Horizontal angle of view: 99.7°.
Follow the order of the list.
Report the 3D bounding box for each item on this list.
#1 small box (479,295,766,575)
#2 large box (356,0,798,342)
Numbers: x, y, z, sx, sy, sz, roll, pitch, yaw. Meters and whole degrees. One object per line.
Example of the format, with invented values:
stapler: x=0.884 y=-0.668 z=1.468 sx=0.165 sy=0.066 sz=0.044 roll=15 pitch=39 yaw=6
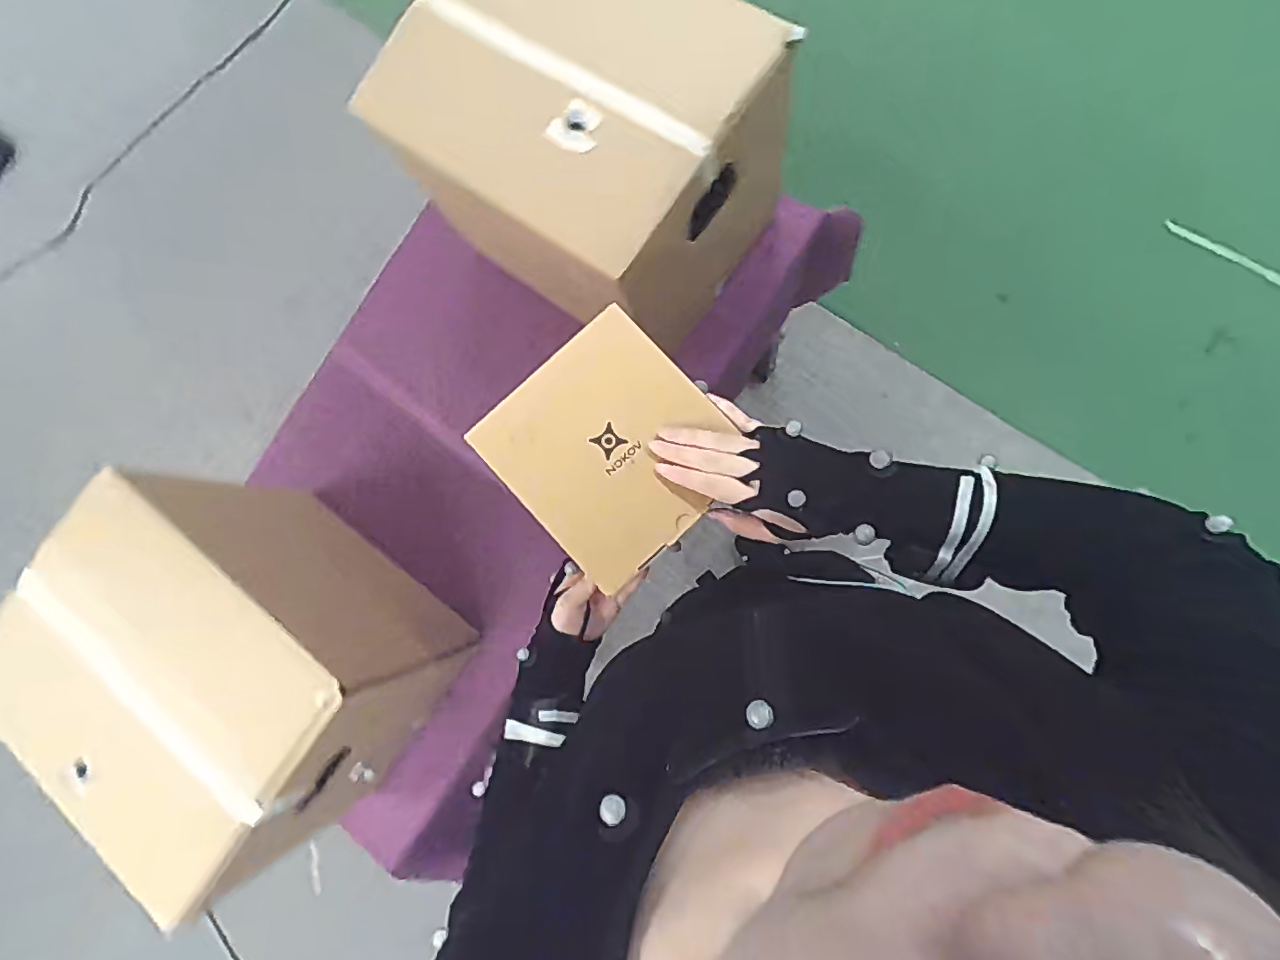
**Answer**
small box: x=-0.016 y=-0.029 z=0.510 sx=0.168 sy=0.176 sz=0.179 roll=-41 pitch=86 yaw=-5
large box: x=-0.063 y=-0.429 z=0.733 sx=0.408 sy=0.320 sz=0.320 roll=36 pitch=90 yaw=11
